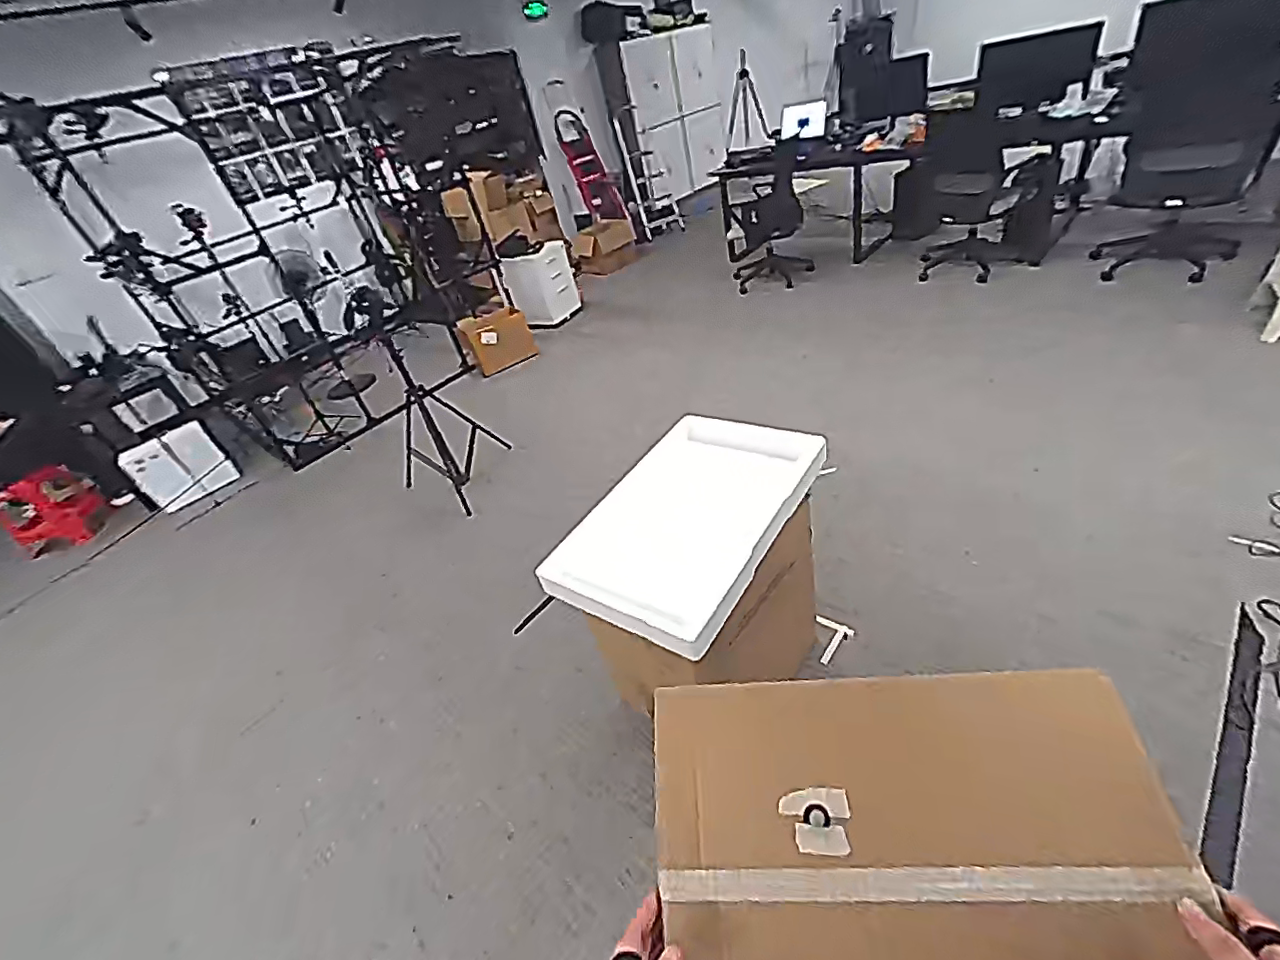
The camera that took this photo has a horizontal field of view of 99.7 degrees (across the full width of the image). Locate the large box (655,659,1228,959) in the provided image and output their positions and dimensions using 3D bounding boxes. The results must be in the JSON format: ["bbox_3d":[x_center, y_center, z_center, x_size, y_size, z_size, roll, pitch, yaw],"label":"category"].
[{"bbox_3d":[0.243,0.385,0.554,0.408,0.320,0.320,-6,58,9],"label":"large box"}]
